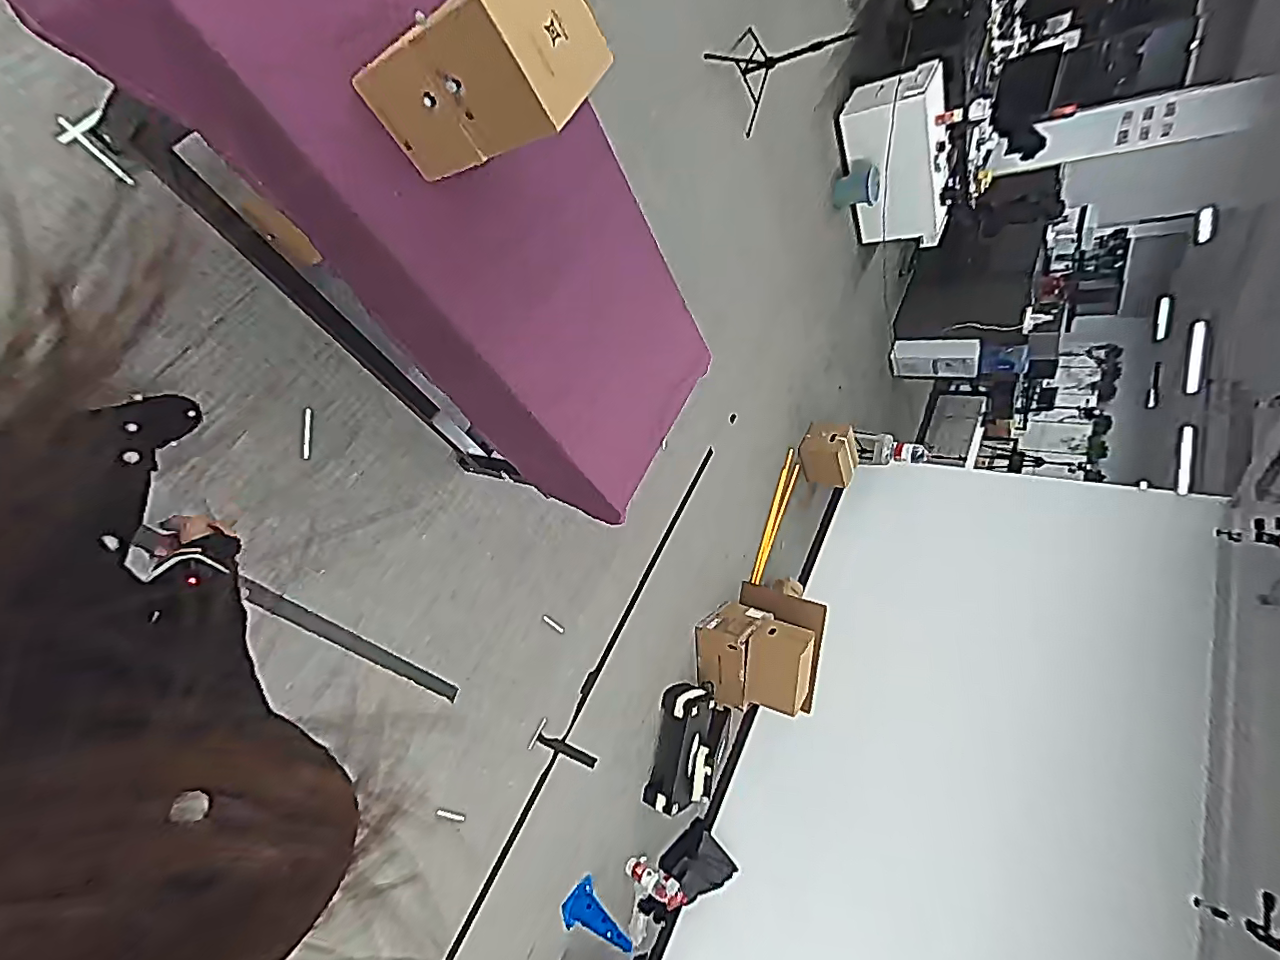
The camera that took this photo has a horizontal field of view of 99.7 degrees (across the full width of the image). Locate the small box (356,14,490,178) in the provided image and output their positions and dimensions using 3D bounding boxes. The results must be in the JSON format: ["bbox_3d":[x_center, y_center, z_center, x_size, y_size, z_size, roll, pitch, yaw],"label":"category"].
[{"bbox_3d":[-0.306,-0.618,0.857,0.168,0.176,0.179,51,59,-44],"label":"small box"}]

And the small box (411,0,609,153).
[{"bbox_3d":[-0.179,-0.599,0.754,0.168,0.176,0.179,49,61,-45],"label":"small box"}]
